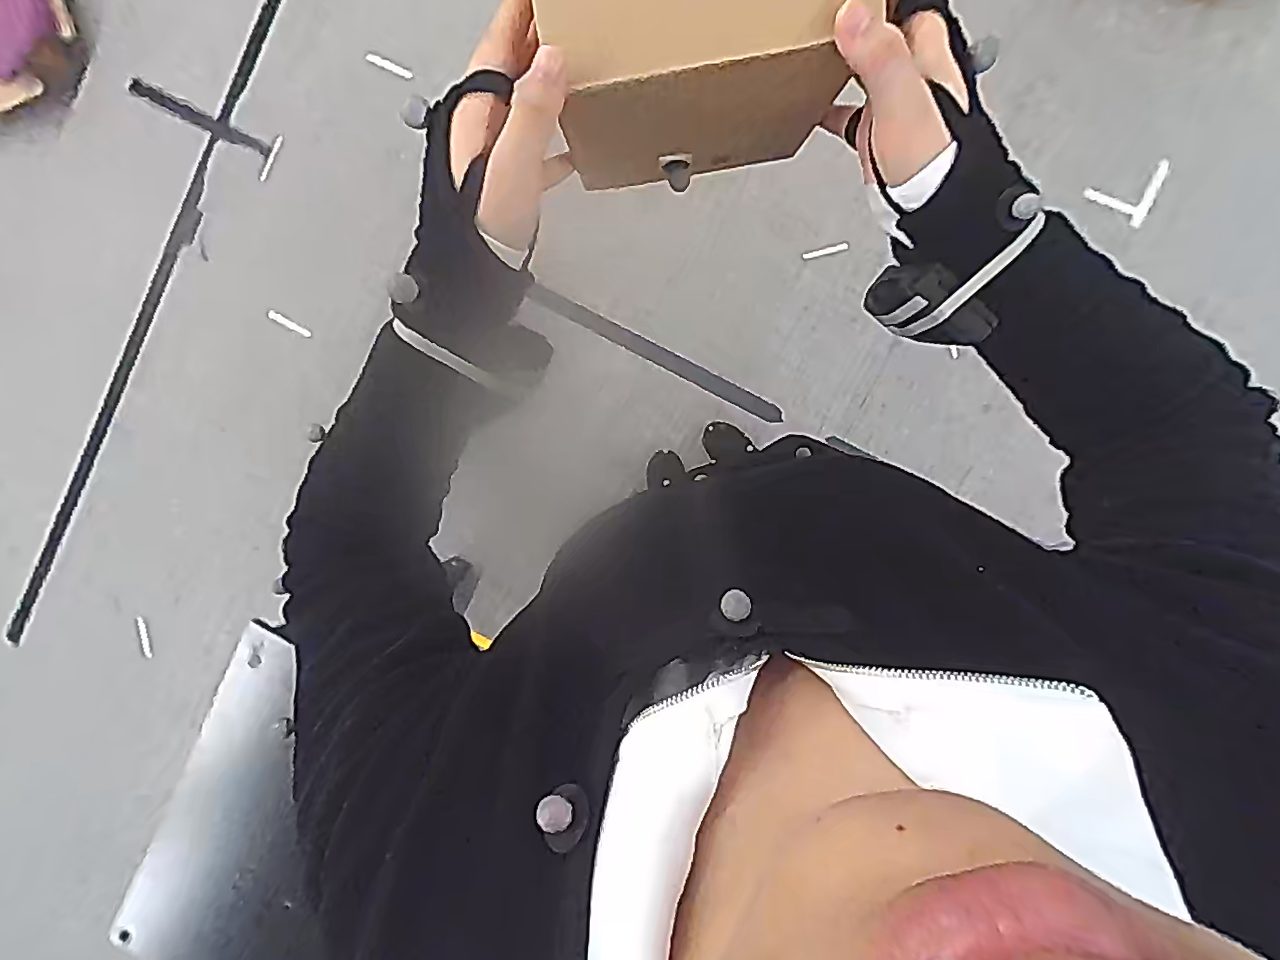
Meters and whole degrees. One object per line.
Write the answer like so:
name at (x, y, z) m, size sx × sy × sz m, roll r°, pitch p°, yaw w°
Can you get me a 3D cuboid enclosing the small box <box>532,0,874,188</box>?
small box at (0.023, -0.304, 0.325) m, size 0.168 × 0.176 × 0.179 m, roll -8°, pitch 103°, yaw 3°
